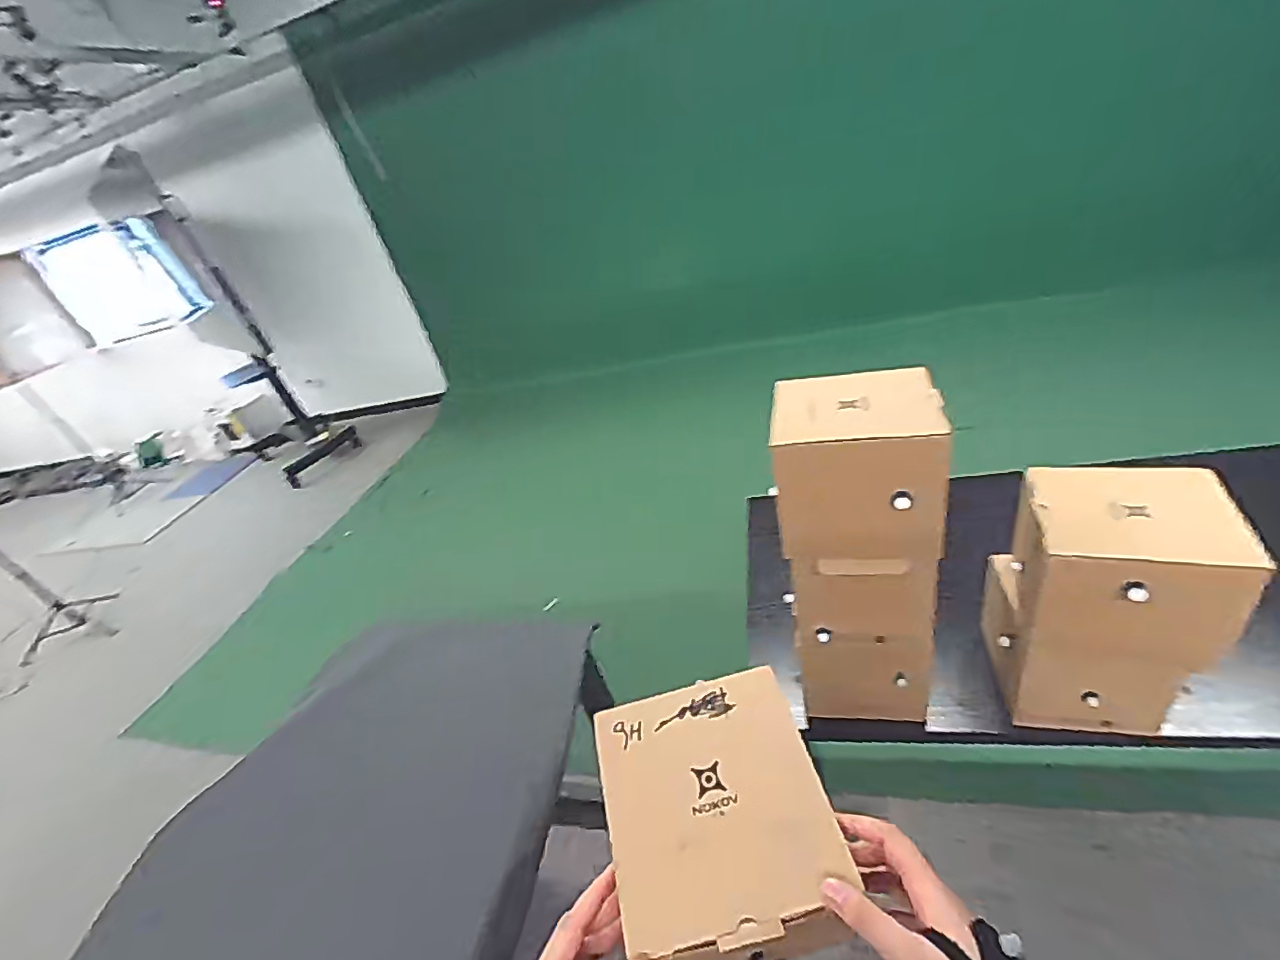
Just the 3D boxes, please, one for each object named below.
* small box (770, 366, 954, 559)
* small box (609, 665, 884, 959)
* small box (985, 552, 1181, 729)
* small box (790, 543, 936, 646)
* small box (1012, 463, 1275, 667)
[{"bbox_3d":[0.258,-0.018,0.652,0.179,0.176,0.168,-4,33,19],"label":"small box"},{"bbox_3d":[0.081,0.294,0.462,0.168,0.176,0.179,-15,42,-1],"label":"small box"},{"bbox_3d":[0.597,0.218,0.747,0.168,0.176,0.179,-4,35,19],"label":"small box"},{"bbox_3d":[0.300,0.108,0.745,0.168,0.176,0.179,-4,34,18],"label":"small box"},{"bbox_3d":[0.564,0.096,0.640,0.179,0.176,0.168,1,37,26],"label":"small box"}]
